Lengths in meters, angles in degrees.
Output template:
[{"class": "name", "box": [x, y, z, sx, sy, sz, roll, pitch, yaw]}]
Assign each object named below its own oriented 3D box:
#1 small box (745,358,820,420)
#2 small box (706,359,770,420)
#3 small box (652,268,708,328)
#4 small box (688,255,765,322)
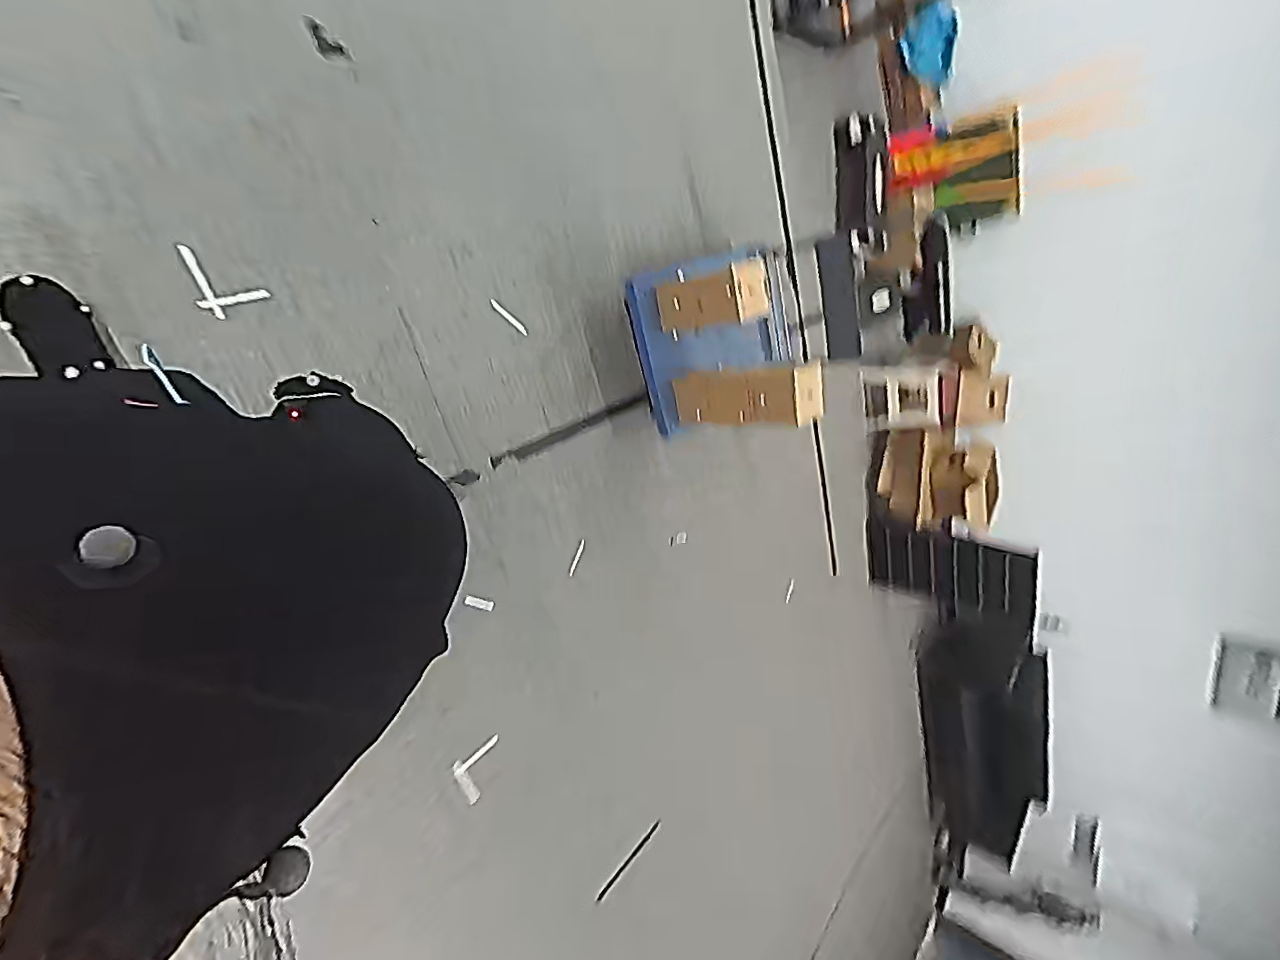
[{"class": "small box", "box": [0.461, -0.296, 1.743, 0.179, 0.176, 0.168, -25, 112, -41]}, {"class": "small box", "box": [0.342, -0.310, 1.857, 0.168, 0.176, 0.179, -26, 114, -40]}, {"class": "small box", "box": [0.165, -0.629, 1.869, 0.168, 0.176, 0.179, -28, 113, -40]}, {"class": "small box", "box": [0.281, -0.619, 1.752, 0.179, 0.176, 0.168, -31, 116, -39]}]
